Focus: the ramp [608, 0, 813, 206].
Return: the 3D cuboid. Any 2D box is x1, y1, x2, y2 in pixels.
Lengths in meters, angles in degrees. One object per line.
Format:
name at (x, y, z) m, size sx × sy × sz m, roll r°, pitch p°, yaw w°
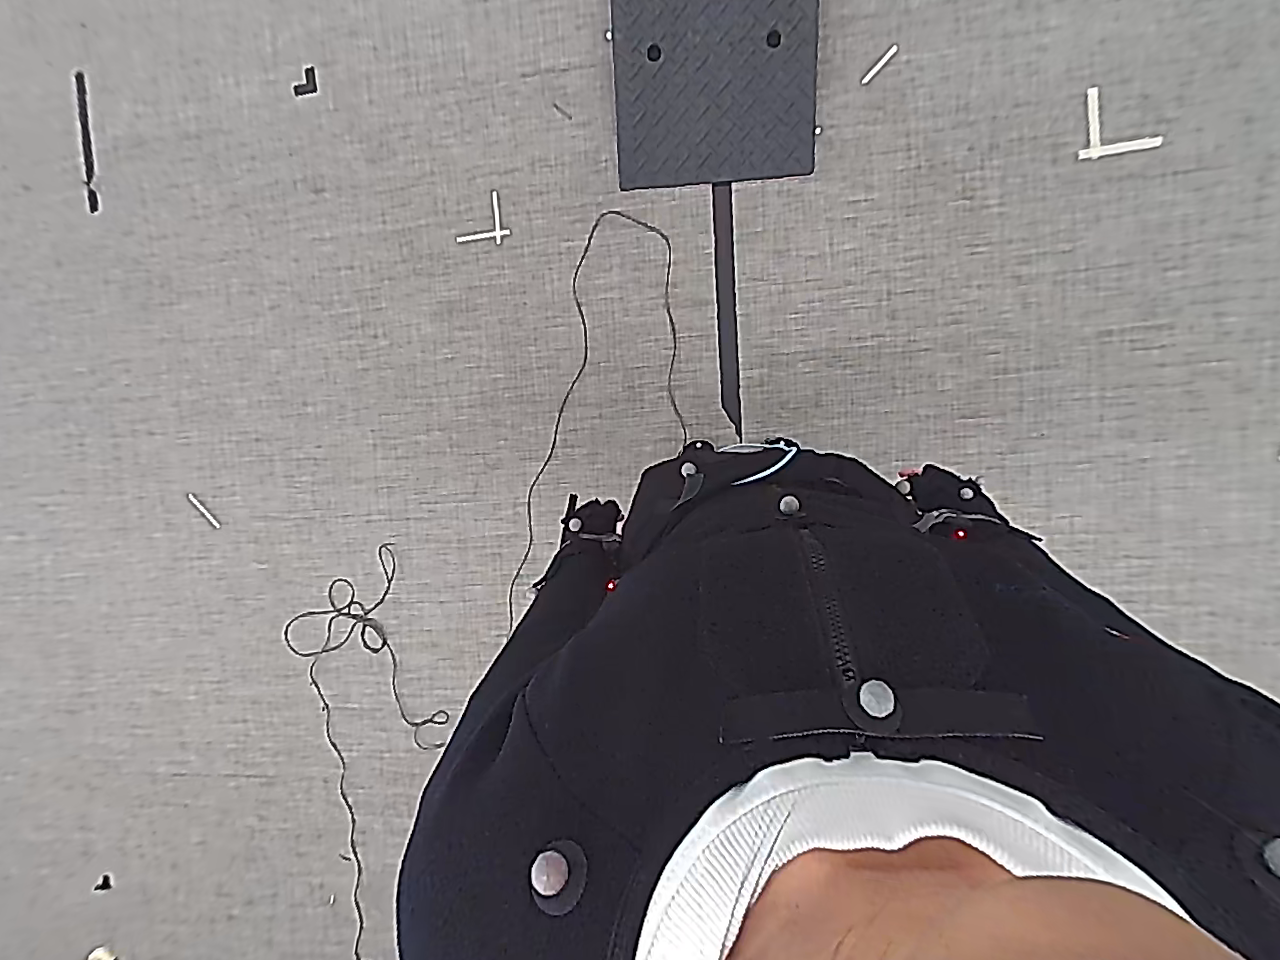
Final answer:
ramp at (0.163, -1.221, 1.291) m, size 0.509 × 0.206 × 0.991 m, roll -4°, pitch 93°, yaw 8°
